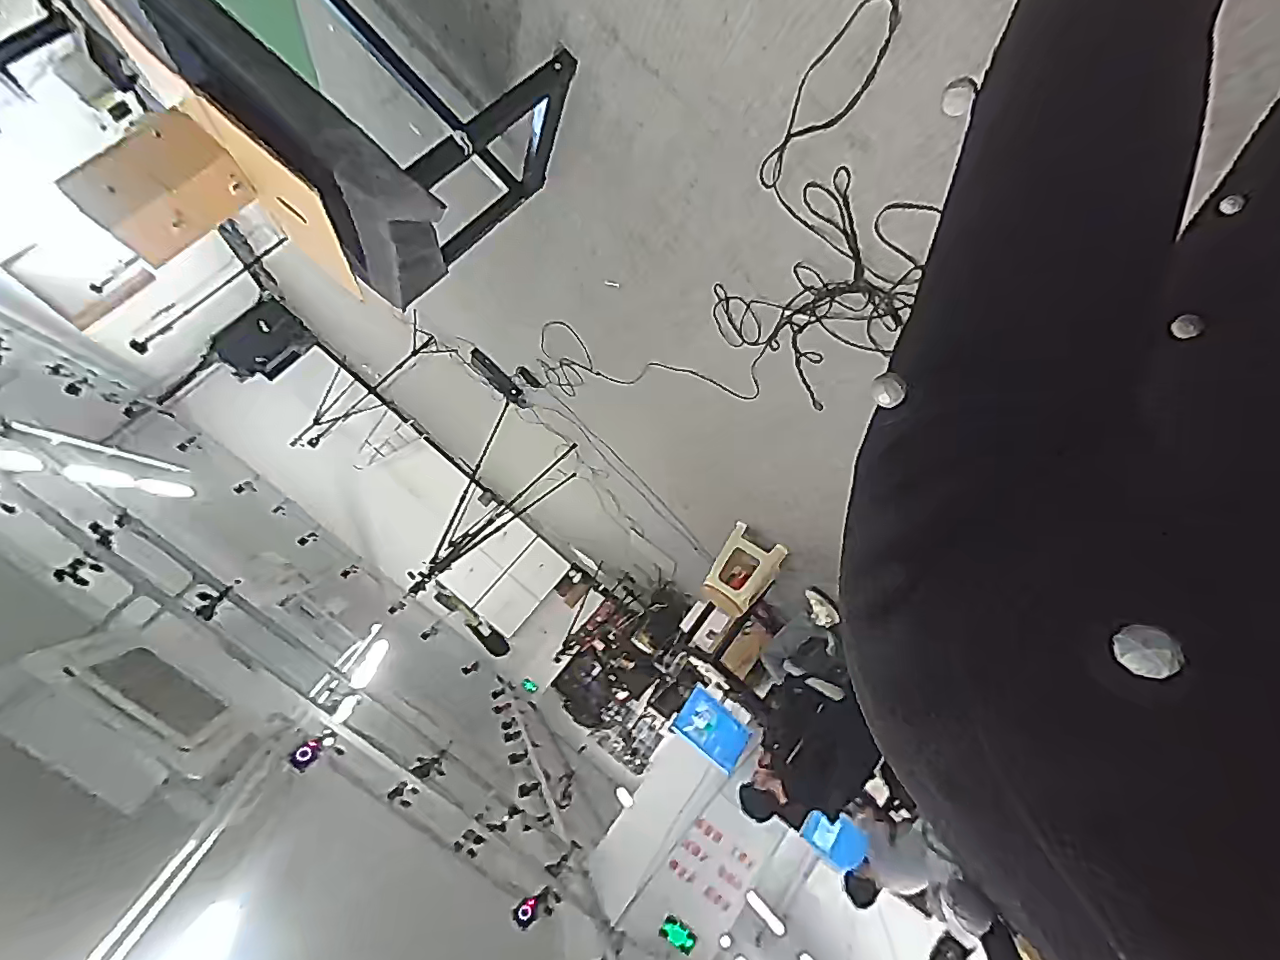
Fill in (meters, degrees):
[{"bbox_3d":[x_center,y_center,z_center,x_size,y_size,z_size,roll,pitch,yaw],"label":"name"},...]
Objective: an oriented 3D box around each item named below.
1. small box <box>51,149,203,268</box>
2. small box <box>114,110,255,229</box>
[{"bbox_3d":[-1.250,-0.675,1.336,0.179,0.176,0.168,41,166,-1],"label":"small box"},{"bbox_3d":[-1.143,-0.794,1.375,0.179,0.176,0.168,41,166,-2],"label":"small box"}]
